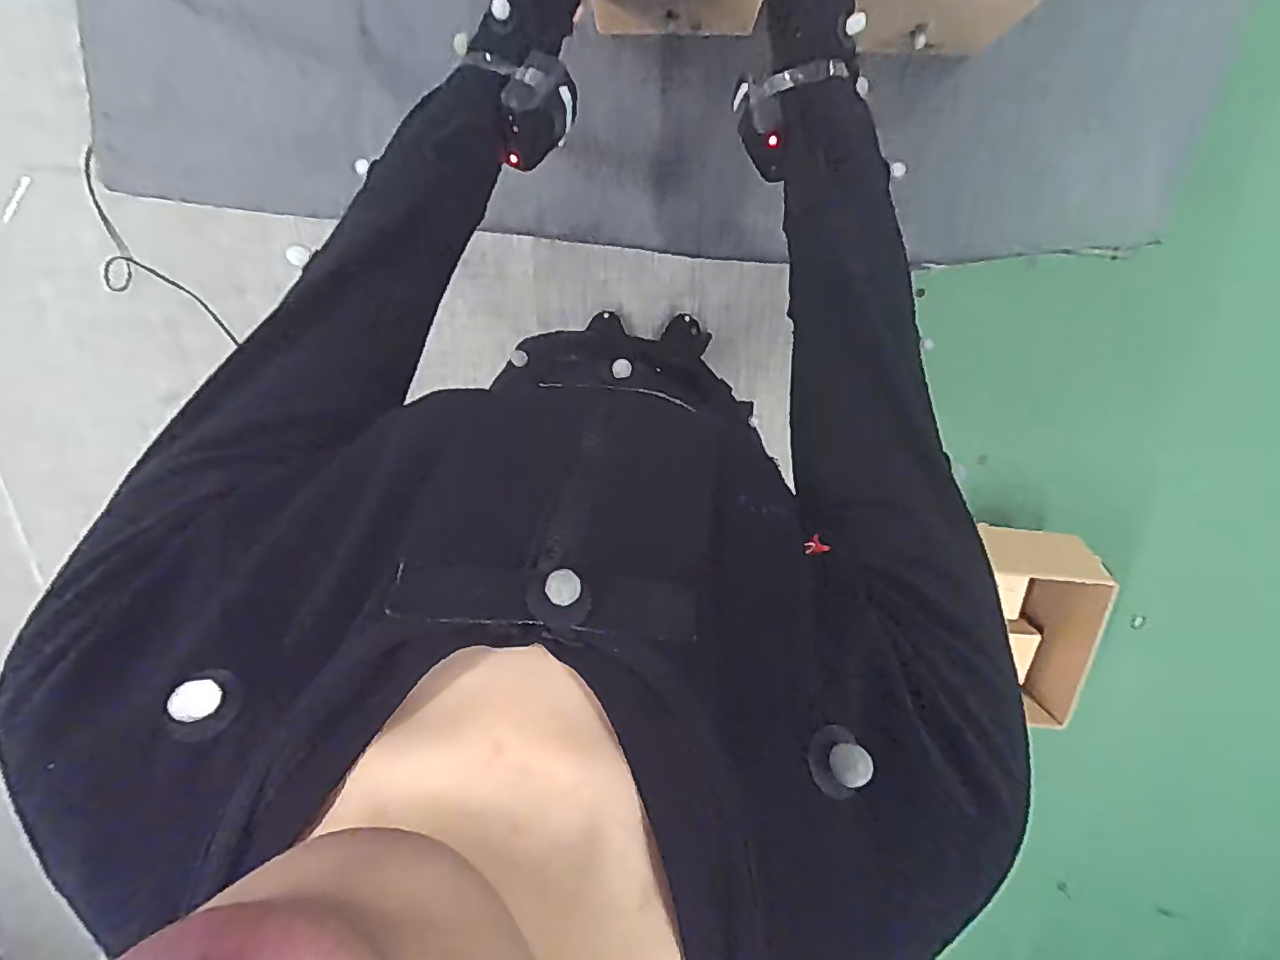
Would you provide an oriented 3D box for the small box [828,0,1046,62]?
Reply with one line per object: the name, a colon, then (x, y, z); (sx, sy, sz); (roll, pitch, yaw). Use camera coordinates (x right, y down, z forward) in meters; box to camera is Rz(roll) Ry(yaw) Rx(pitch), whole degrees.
small box: (0.278, -0.512, 0.477); (0.168, 0.176, 0.179); (4, 108, 2)
